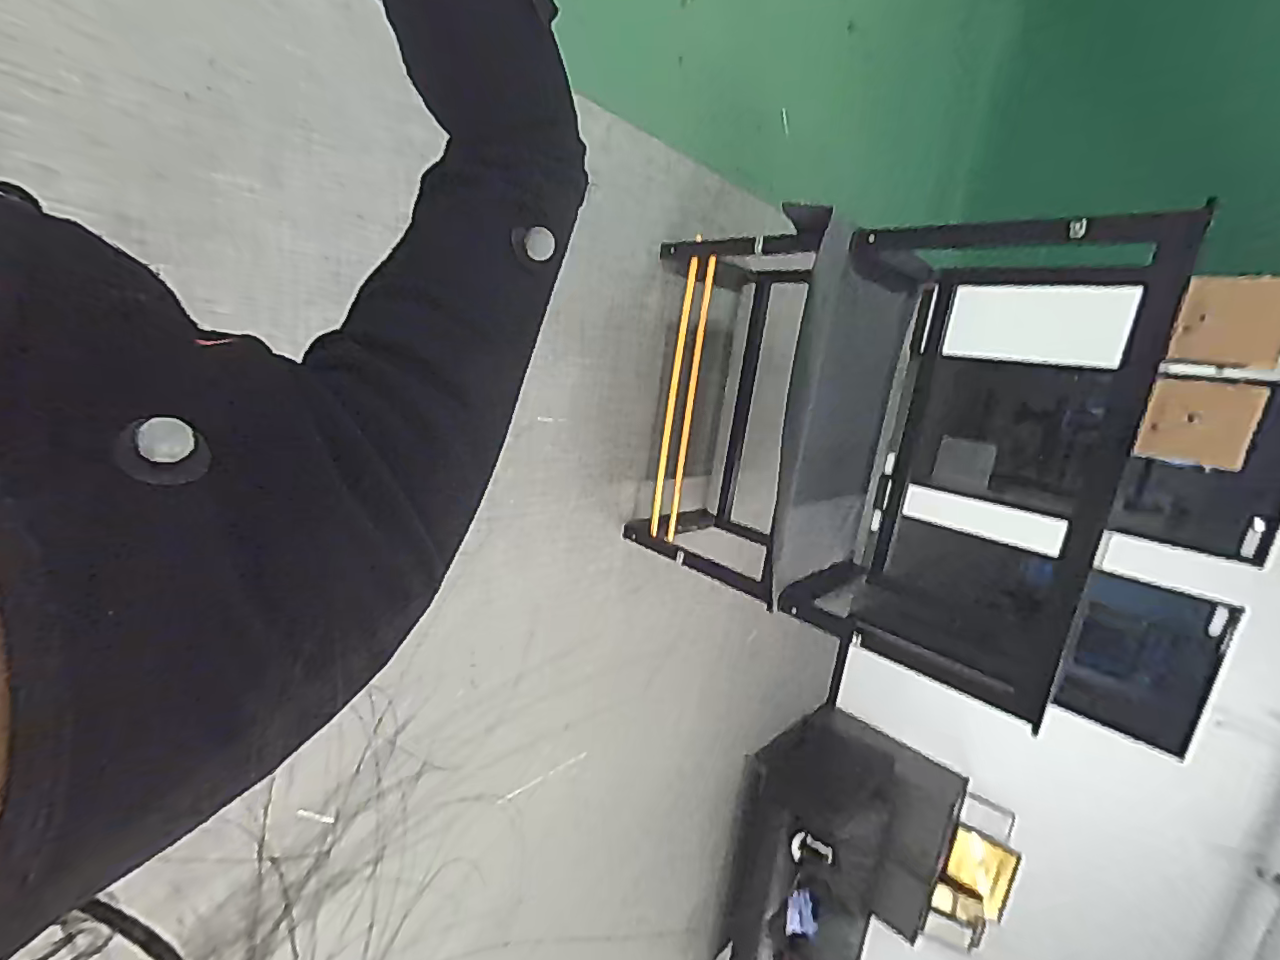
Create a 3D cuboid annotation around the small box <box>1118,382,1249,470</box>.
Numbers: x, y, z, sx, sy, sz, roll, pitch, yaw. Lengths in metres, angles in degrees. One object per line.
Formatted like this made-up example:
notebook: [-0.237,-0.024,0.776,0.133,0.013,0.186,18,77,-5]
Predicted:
small box: [1.207,-0.122,1.214,0.179,0.176,0.168,-4,109,-47]
